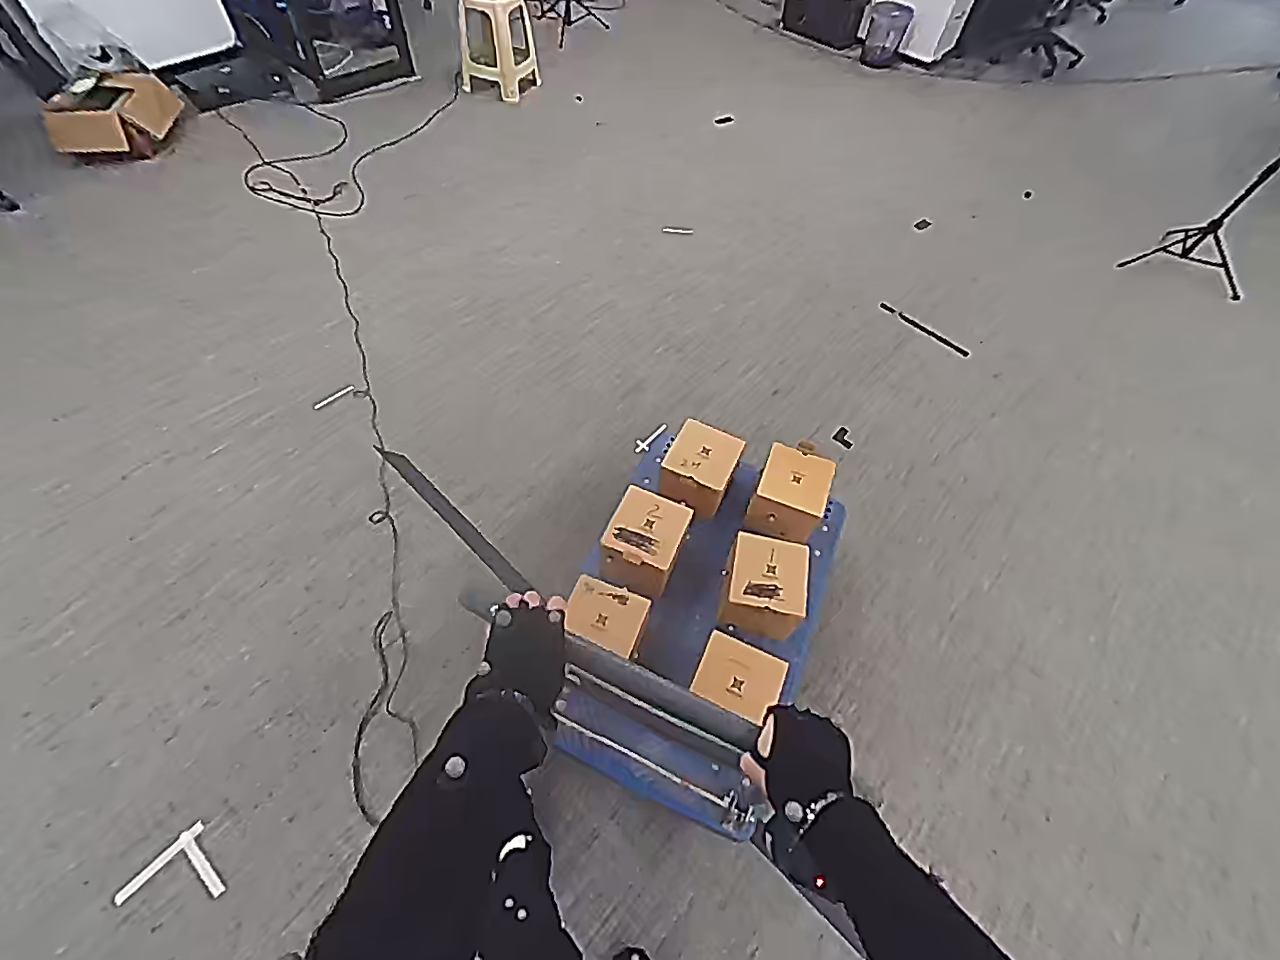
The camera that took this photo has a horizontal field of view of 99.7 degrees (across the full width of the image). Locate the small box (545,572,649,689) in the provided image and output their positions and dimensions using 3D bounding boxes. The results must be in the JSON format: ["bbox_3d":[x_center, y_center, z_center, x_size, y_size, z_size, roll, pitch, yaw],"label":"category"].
[{"bbox_3d":[-0.088,0.335,1.184,0.168,0.176,0.179,20,59,8],"label":"small box"}]

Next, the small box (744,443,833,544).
[{"bbox_3d":[0.381,0.040,1.409,0.168,0.176,0.179,20,58,9],"label":"small box"}]

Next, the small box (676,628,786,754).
[{"bbox_3d":[0.183,0.447,1.132,0.168,0.176,0.179,24,58,11],"label":"small box"}]

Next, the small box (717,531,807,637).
[{"bbox_3d":[0.281,0.249,1.266,0.168,0.176,0.179,13,56,4],"label":"small box"}]

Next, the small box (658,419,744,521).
[{"bbox_3d":[0.155,-0.024,1.431,0.168,0.176,0.179,25,60,12],"label":"small box"}]
